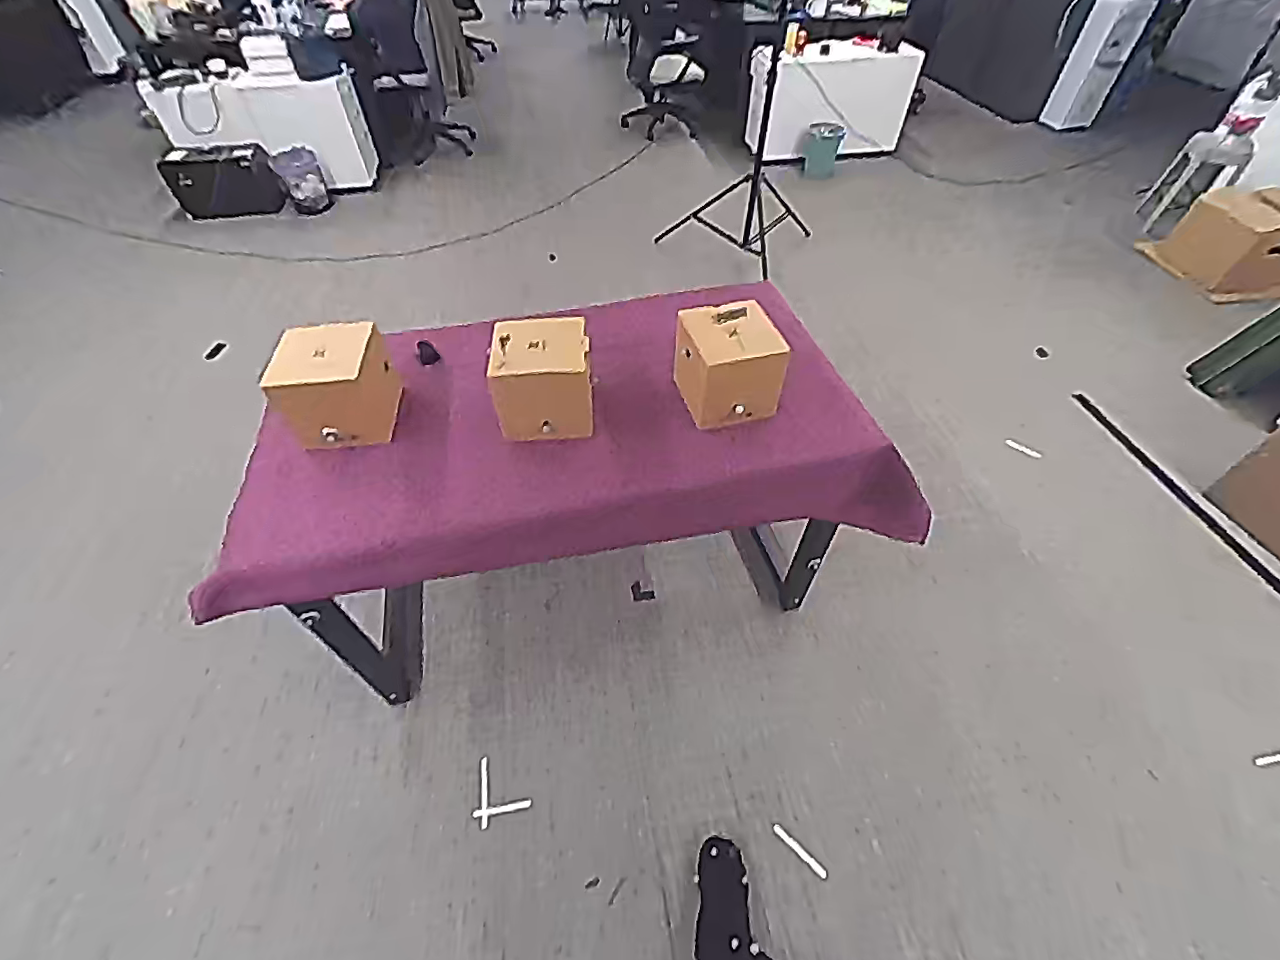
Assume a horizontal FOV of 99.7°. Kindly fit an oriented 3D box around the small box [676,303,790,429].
[{"bbox_3d":[0.175,-0.228,1.086,0.168,0.176,0.179,-12,51,-9],"label":"small box"}]

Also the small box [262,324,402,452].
[{"bbox_3d":[-0.578,-0.177,1.045,0.168,0.176,0.179,-7,51,-5],"label":"small box"}]

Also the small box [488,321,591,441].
[{"bbox_3d":[-0.186,-0.191,1.057,0.179,0.176,0.168,-3,49,-3],"label":"small box"}]
